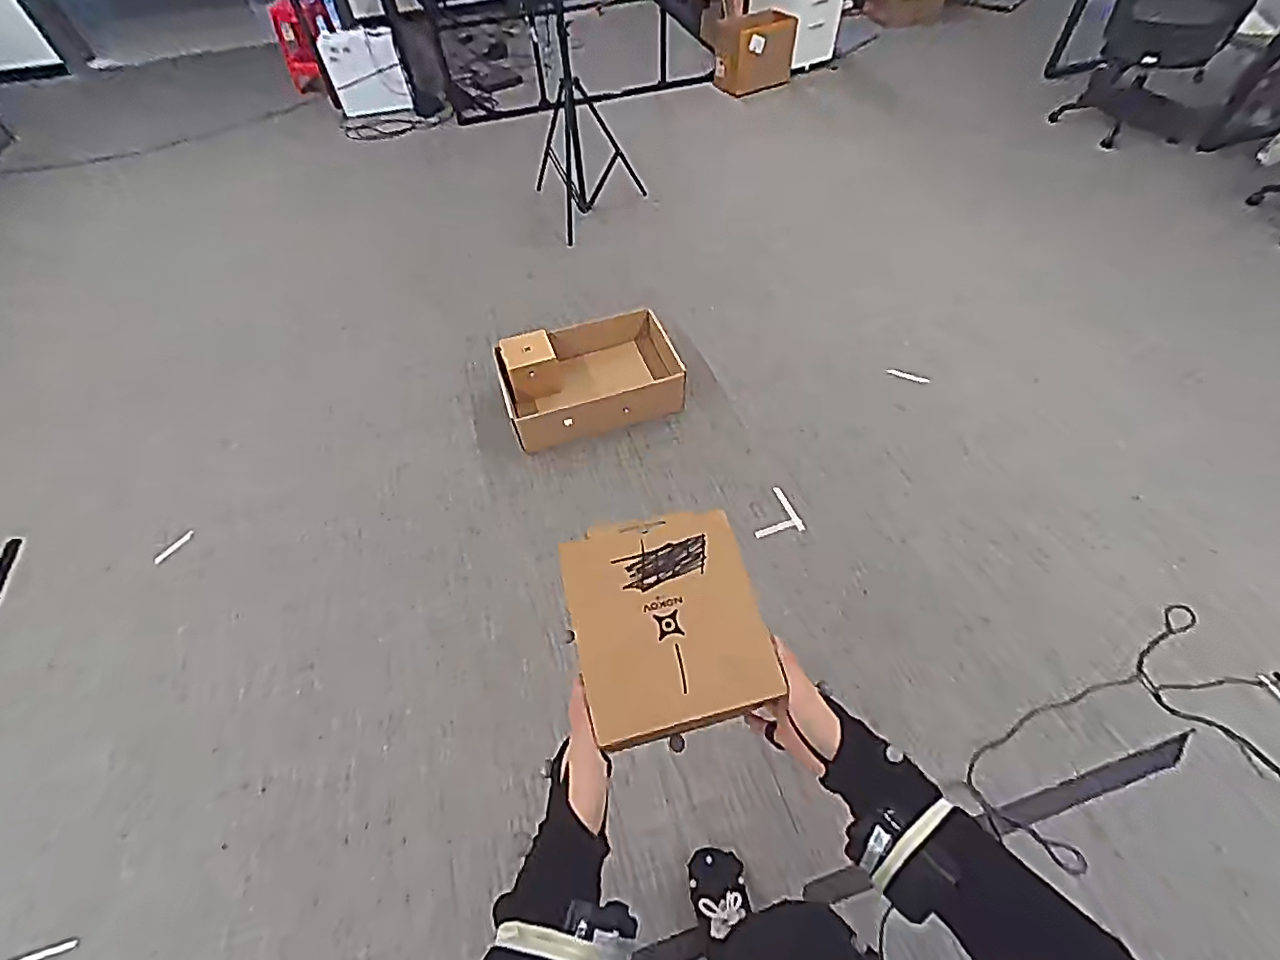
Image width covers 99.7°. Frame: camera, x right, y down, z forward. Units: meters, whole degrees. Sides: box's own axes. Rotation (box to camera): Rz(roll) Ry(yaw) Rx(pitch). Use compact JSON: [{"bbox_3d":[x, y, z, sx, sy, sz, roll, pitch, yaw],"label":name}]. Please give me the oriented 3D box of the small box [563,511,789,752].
[{"bbox_3d":[0.021,0.157,0.543,0.168,0.176,0.179,-12,63,-9],"label":"small box"}]
